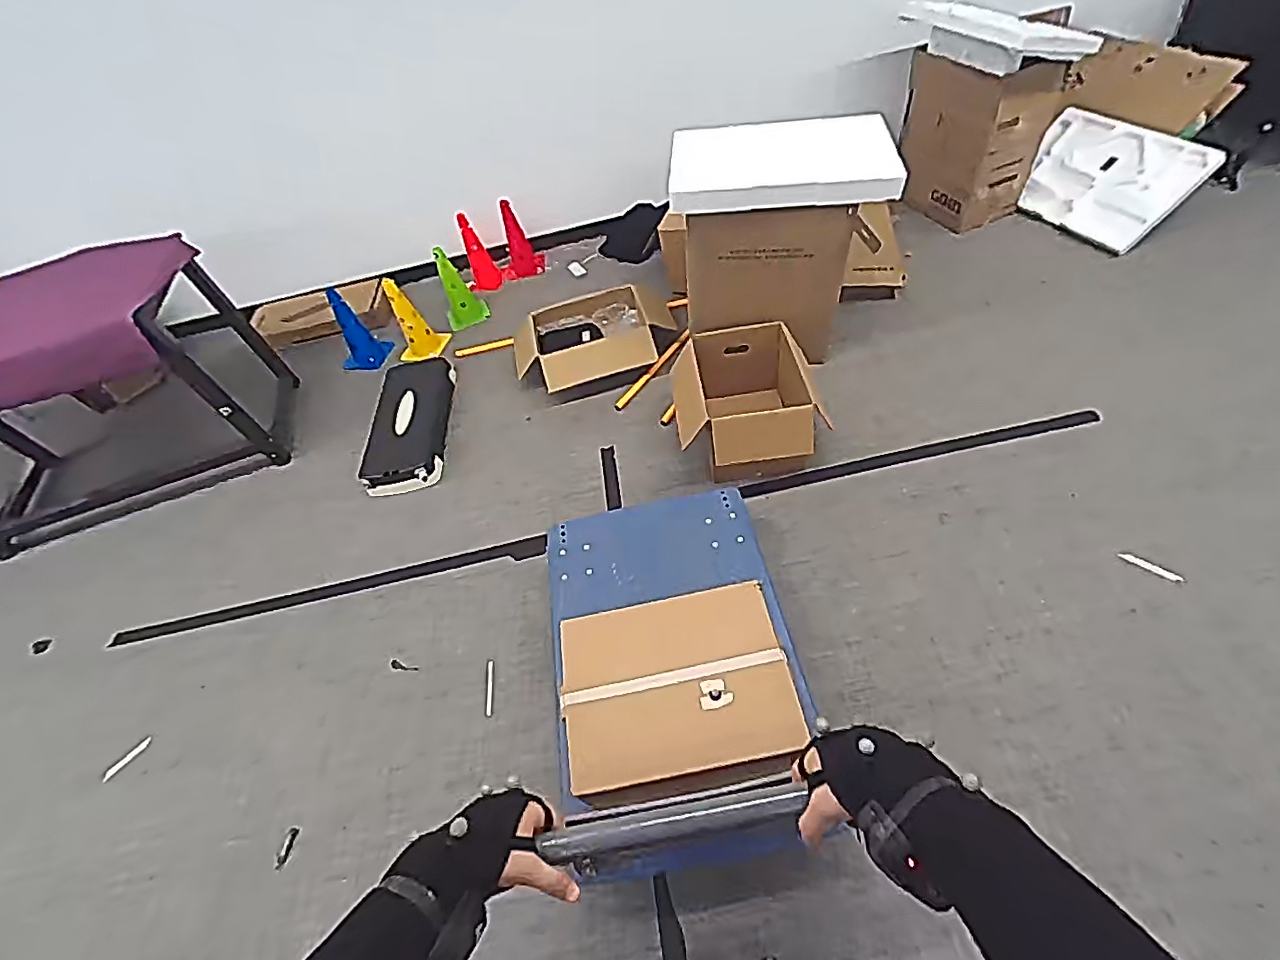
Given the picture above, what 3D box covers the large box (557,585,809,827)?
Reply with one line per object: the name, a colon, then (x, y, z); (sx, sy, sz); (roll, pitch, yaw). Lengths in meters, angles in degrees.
large box: (0.075, 0.455, 1.078); (0.408, 0.320, 0.320); (-12, 51, 0)
